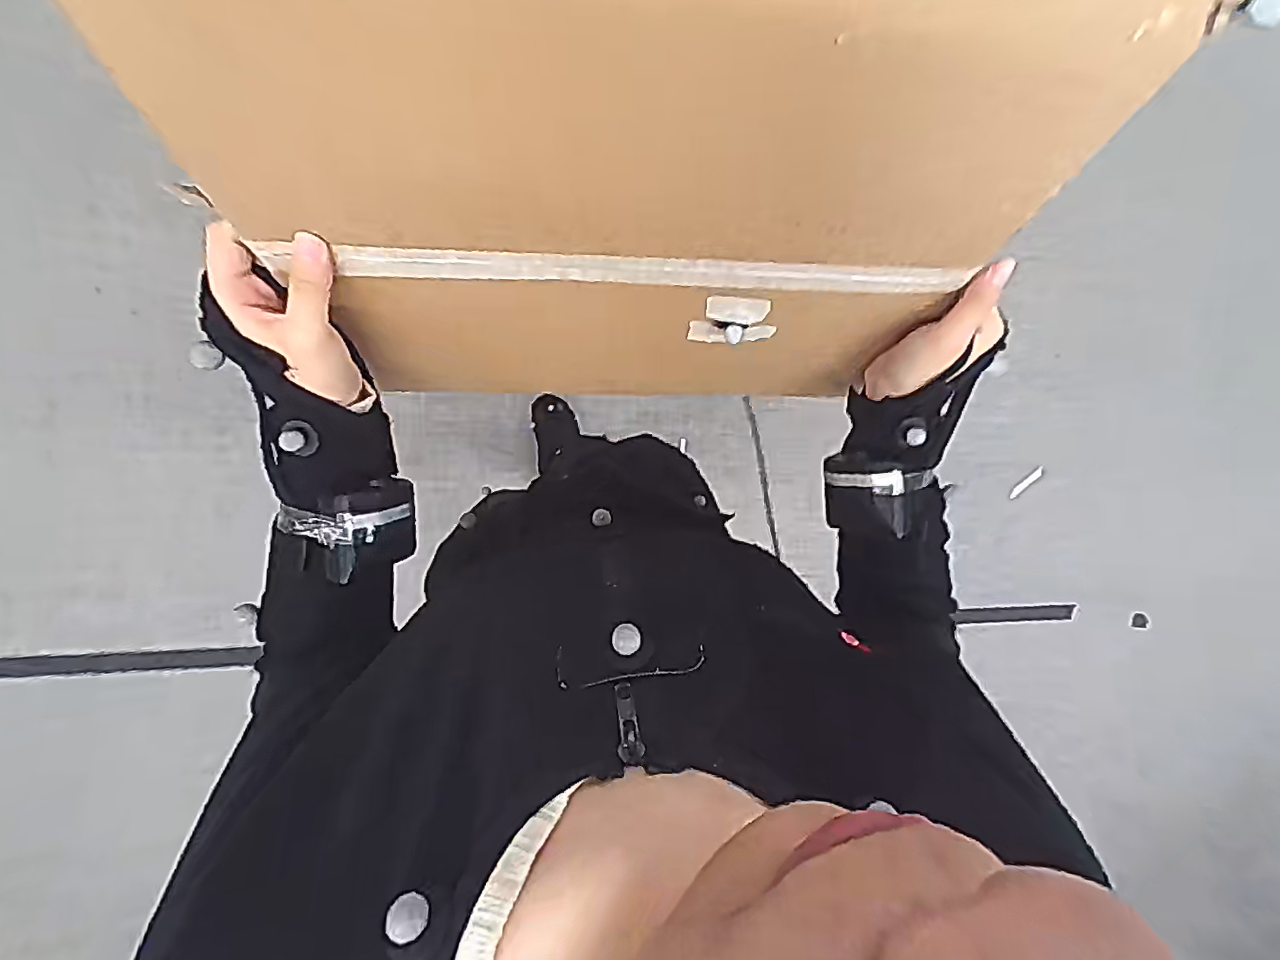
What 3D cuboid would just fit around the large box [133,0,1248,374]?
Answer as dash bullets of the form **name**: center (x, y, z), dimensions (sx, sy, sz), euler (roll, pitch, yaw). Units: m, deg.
- **large box**: center (0.007, -0.277, 0.335), dimensions (0.408, 0.320, 0.320), euler (-1, 72, -7)
